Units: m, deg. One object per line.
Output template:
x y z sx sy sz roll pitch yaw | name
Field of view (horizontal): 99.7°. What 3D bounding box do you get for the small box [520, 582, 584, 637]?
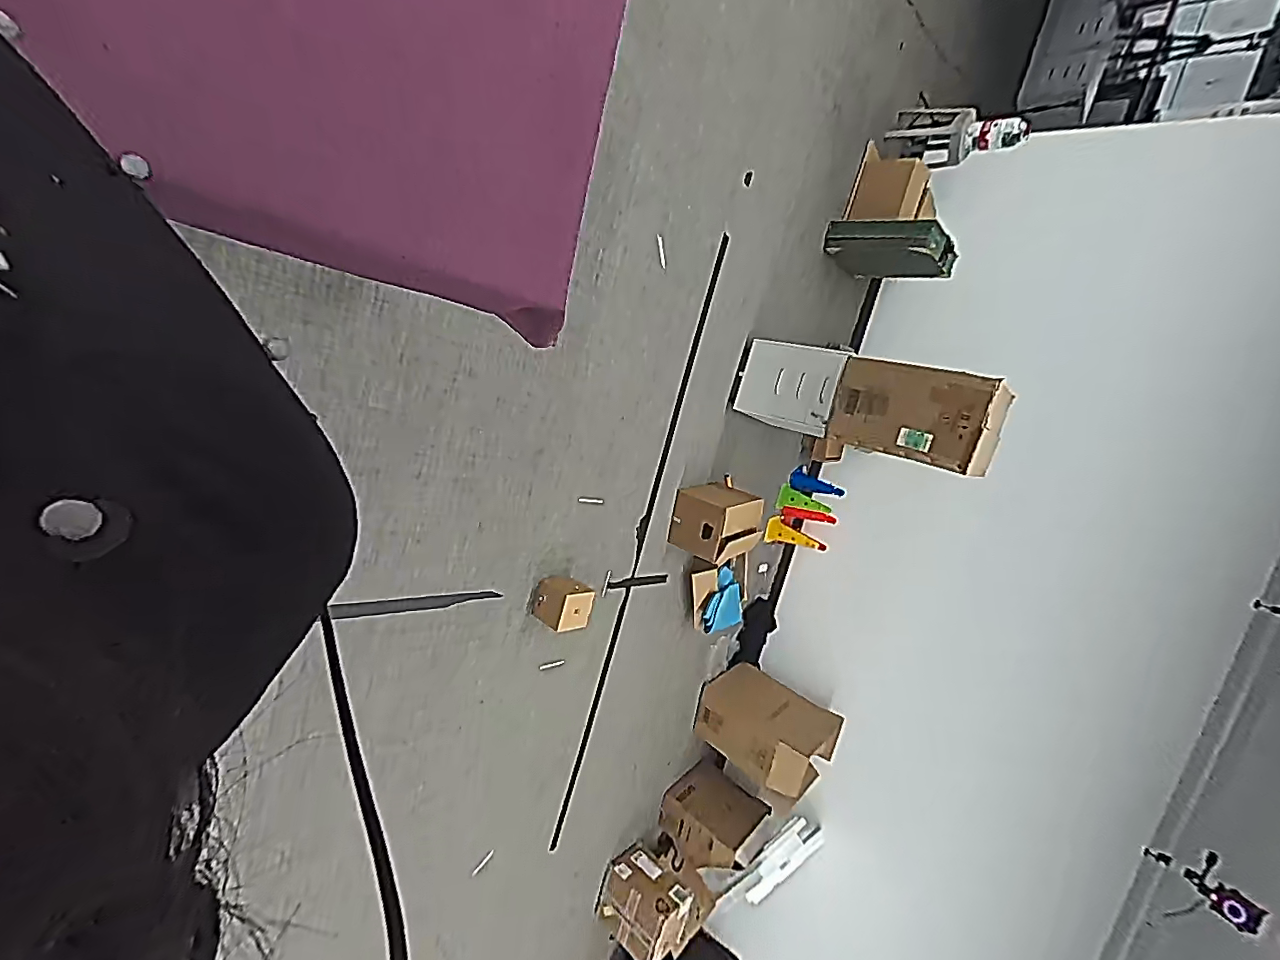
-0.373 0.540 2.282 0.179 0.176 0.168 8 99 -52 | small box
